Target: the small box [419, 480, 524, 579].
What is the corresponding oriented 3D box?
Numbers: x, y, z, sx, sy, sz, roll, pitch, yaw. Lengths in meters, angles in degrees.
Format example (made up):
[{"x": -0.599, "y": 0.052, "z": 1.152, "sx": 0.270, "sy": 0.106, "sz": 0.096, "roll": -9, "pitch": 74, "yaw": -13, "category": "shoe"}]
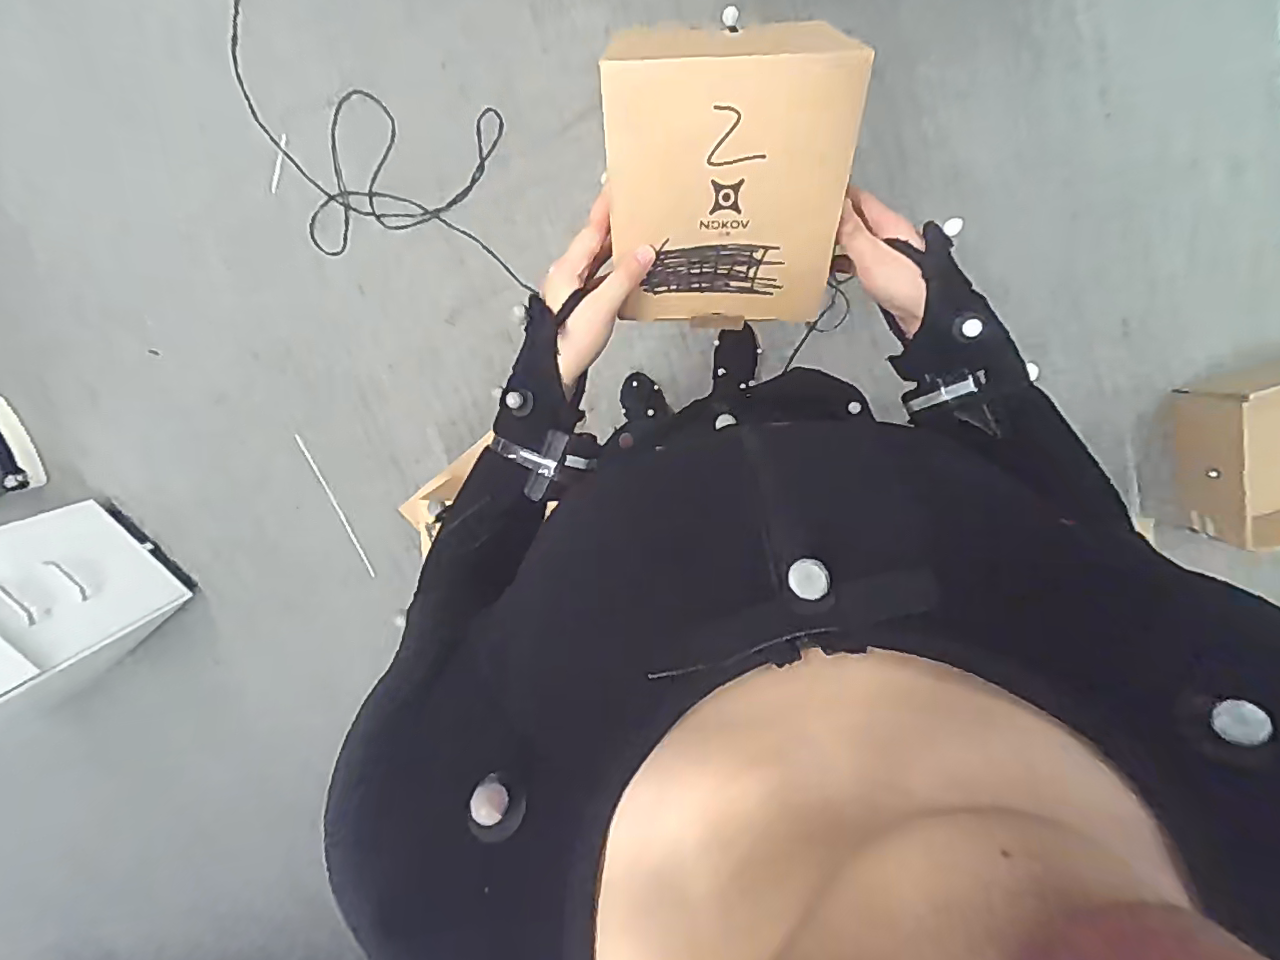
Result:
[{"x": -0.350, "y": 0.100, "z": 1.162, "sx": 0.179, "sy": 0.176, "sz": 0.168, "roll": 2, "pitch": 105, "yaw": 1, "category": "small box"}]
